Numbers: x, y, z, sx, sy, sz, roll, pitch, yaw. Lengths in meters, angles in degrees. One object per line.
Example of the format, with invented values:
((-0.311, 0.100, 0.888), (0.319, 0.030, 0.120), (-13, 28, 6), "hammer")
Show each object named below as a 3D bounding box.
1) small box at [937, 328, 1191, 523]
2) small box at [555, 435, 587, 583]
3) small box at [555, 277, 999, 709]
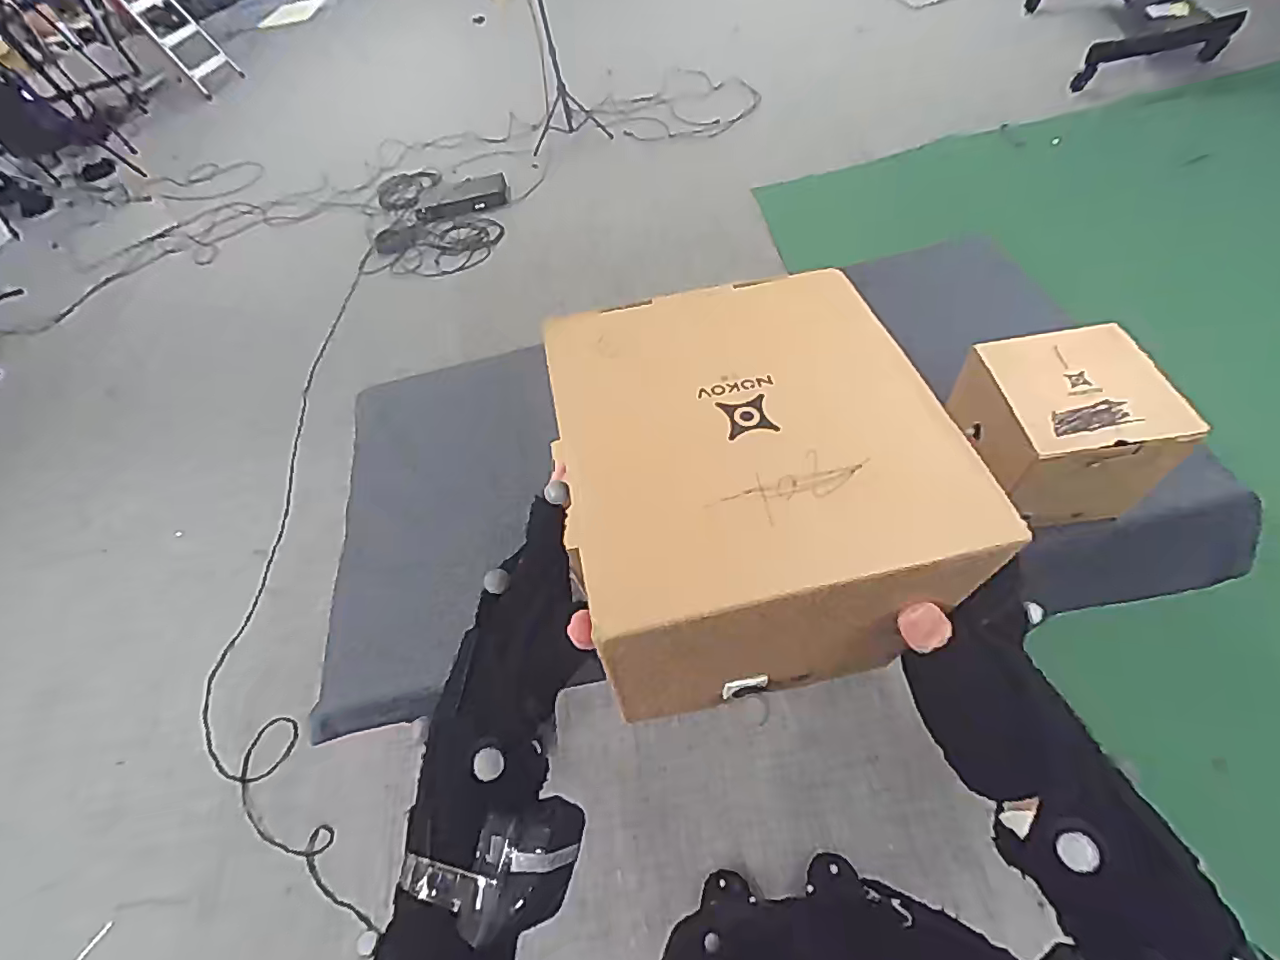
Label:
((0.502, -0.058, 0.679), (0.168, 0.176, 0.179), (-7, 54, 7), "small box")
((-0.002, 0.040, 0.710), (0.179, 0.176, 0.168), (-12, 54, 3), "small box")
((0.050, 0.013, 0.319), (0.168, 0.176, 0.179), (-11, 55, -4), "small box")
